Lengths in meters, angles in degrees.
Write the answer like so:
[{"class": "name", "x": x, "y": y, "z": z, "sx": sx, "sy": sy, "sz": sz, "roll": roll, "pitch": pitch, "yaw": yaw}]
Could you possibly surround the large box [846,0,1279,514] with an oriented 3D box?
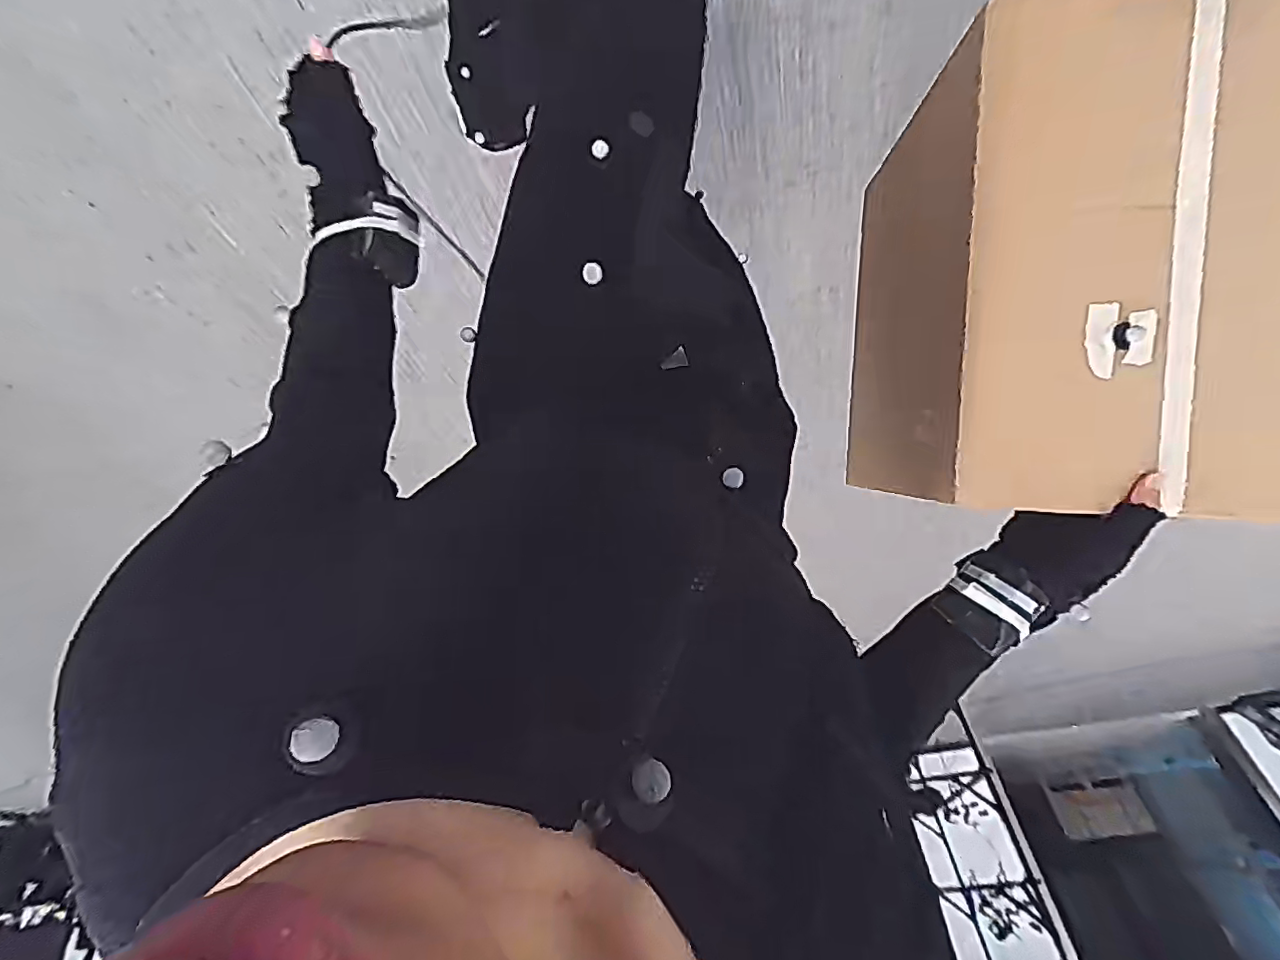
[{"class": "large box", "x": 0.425, "y": -0.186, "z": 0.573, "sx": 0.320, "sy": 0.408, "sz": 0.320, "roll": 2, "pitch": -176, "yaw": 6}]
